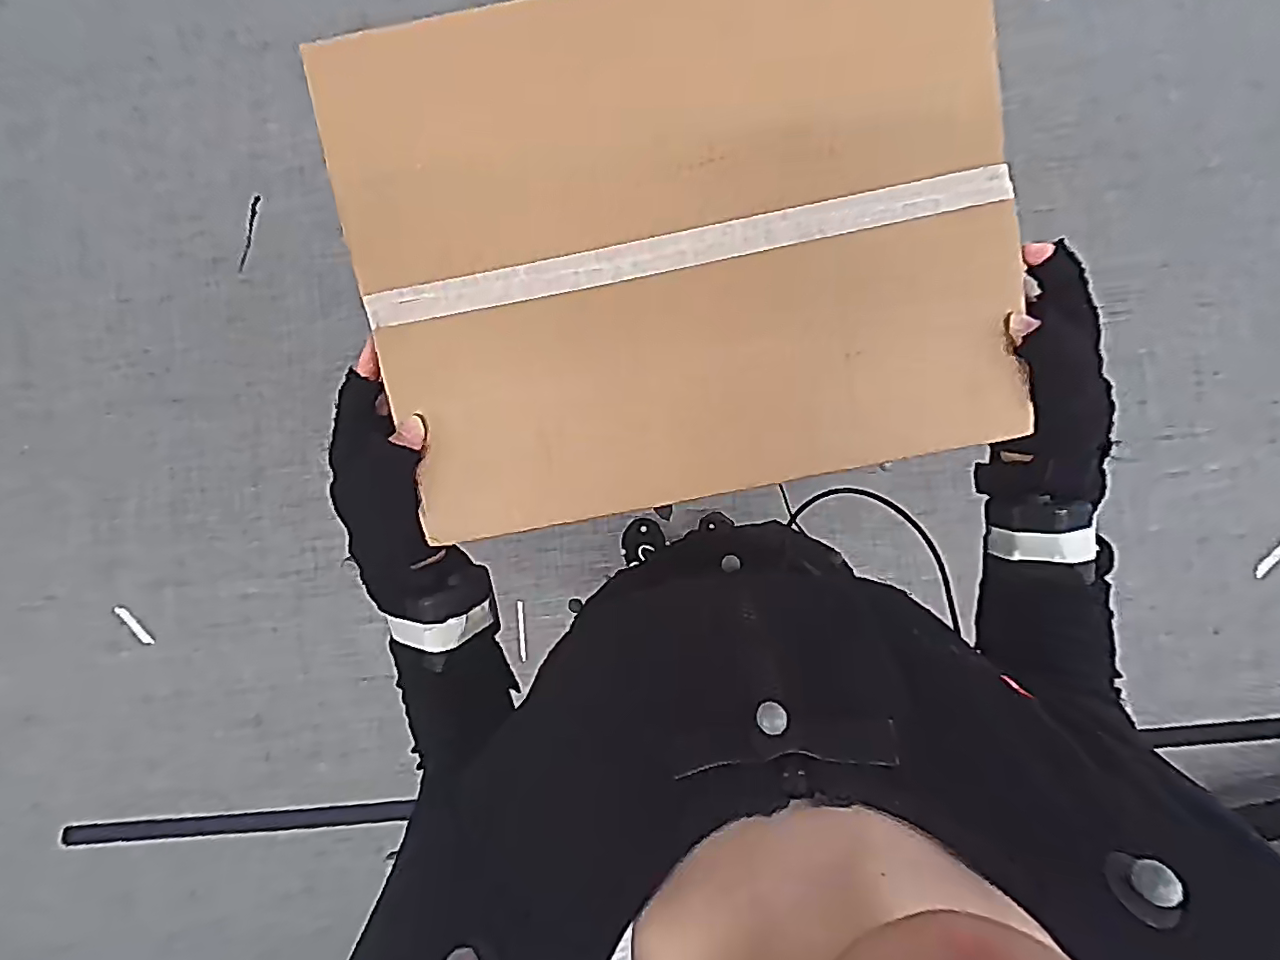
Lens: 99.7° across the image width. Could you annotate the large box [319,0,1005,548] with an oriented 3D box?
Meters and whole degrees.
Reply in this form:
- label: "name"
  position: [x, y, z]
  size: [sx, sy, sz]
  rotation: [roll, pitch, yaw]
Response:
- label: "large box"
  position: [0.025, -0.162, 0.495]
  size: [0.408, 0.320, 0.320]
  rotation: [-11, 97, 2]
